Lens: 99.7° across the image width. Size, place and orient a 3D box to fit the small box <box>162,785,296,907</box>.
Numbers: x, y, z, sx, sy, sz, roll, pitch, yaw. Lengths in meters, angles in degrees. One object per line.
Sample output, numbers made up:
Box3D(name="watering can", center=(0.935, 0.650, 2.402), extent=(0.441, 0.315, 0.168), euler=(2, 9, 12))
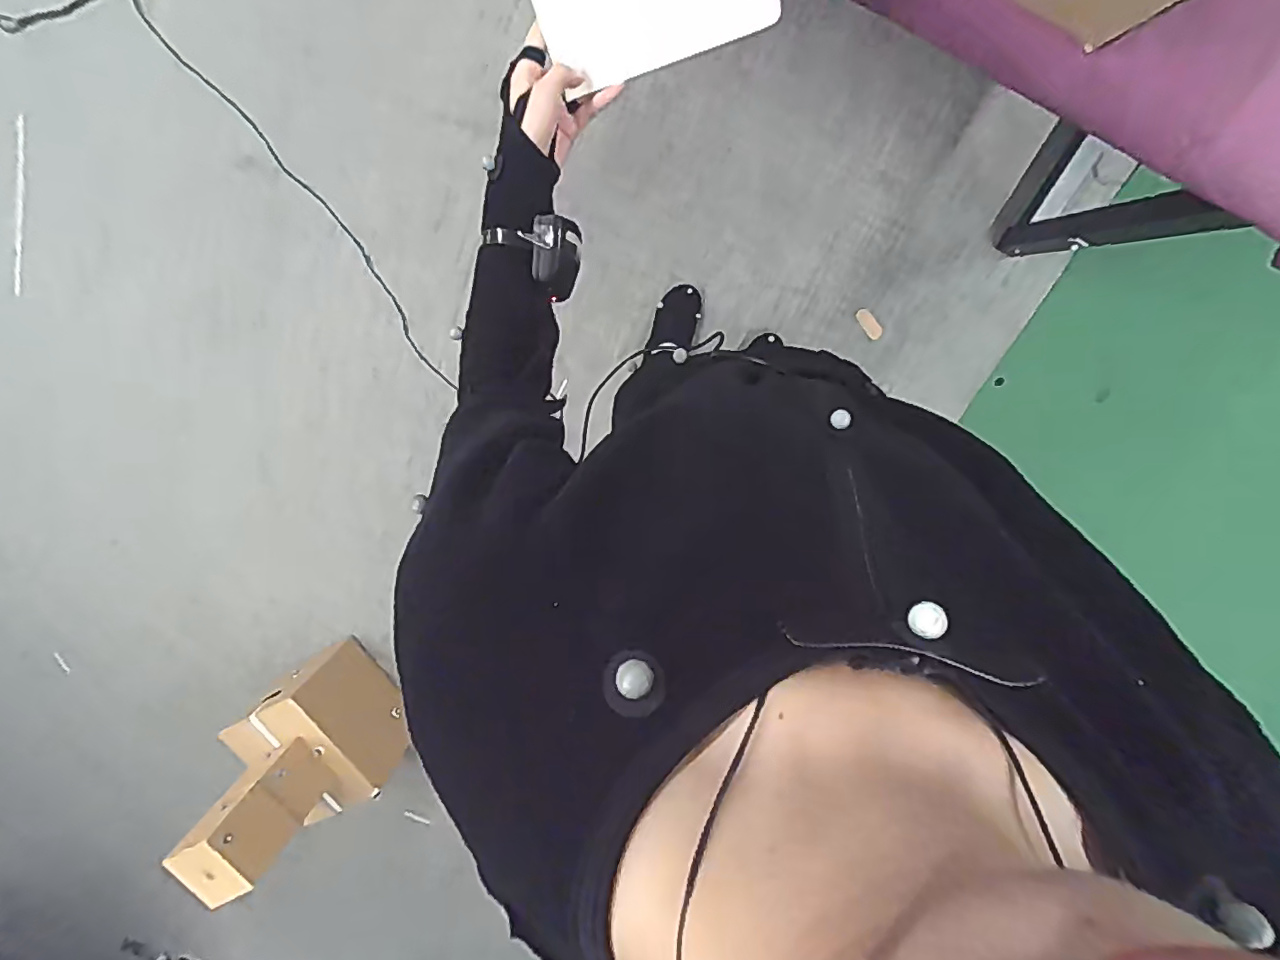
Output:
Box3D(name="small box", center=(-1.030, 0.922, 1.372), extent=(0.168, 0.176, 0.179), euler=(-30, 102, 14))

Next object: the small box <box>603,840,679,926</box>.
Box3D(name="small box", center=(0.006, 1.164, 1.530), extent=(0.179, 0.176, 0.168), euler=(16, 108, 1))

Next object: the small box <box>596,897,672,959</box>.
Box3D(name="small box", center=(-0.019, 1.216, 1.376), extent=(0.168, 0.176, 0.179), euler=(17, 108, 0))
